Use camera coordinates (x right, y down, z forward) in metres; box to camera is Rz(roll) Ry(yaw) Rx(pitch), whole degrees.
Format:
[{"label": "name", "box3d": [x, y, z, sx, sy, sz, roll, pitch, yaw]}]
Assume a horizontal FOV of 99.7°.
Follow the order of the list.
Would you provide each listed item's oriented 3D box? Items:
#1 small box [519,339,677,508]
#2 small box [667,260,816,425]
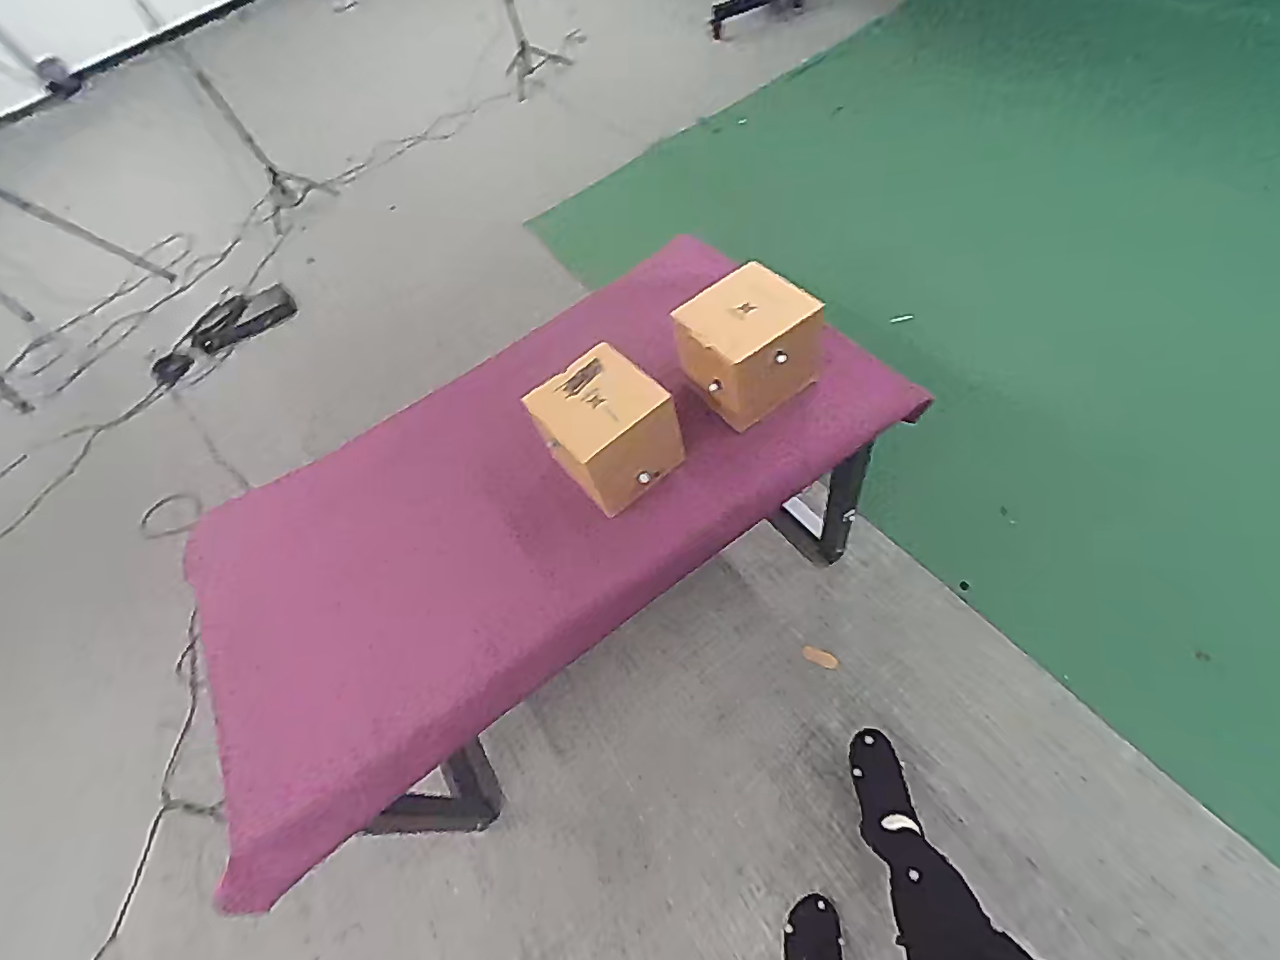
[{"label": "small box", "box3d": [-0.060, -0.086, 0.871, 0.168, 0.176, 0.179, -38, 58, -12]}, {"label": "small box", "box3d": [0.172, -0.224, 0.906, 0.179, 0.176, 0.168, -33, 56, -9]}]
